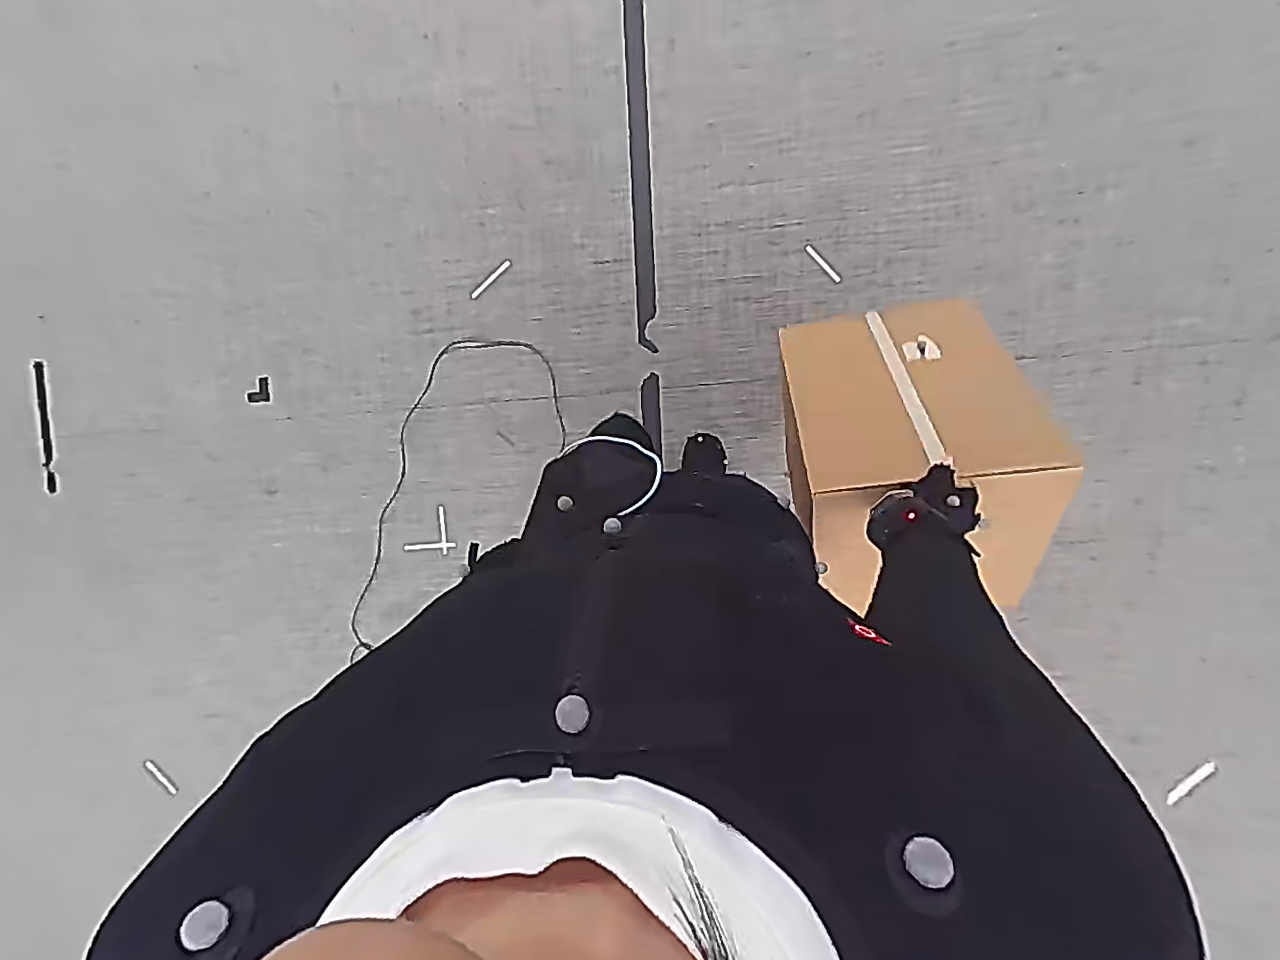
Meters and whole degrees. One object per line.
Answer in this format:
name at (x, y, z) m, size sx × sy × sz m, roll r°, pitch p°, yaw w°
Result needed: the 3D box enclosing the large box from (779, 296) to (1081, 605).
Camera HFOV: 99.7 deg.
large box at (0.426, -0.049, 0.913) m, size 0.320 × 0.408 × 0.320 m, roll -7°, pitch 135°, yaw 11°
